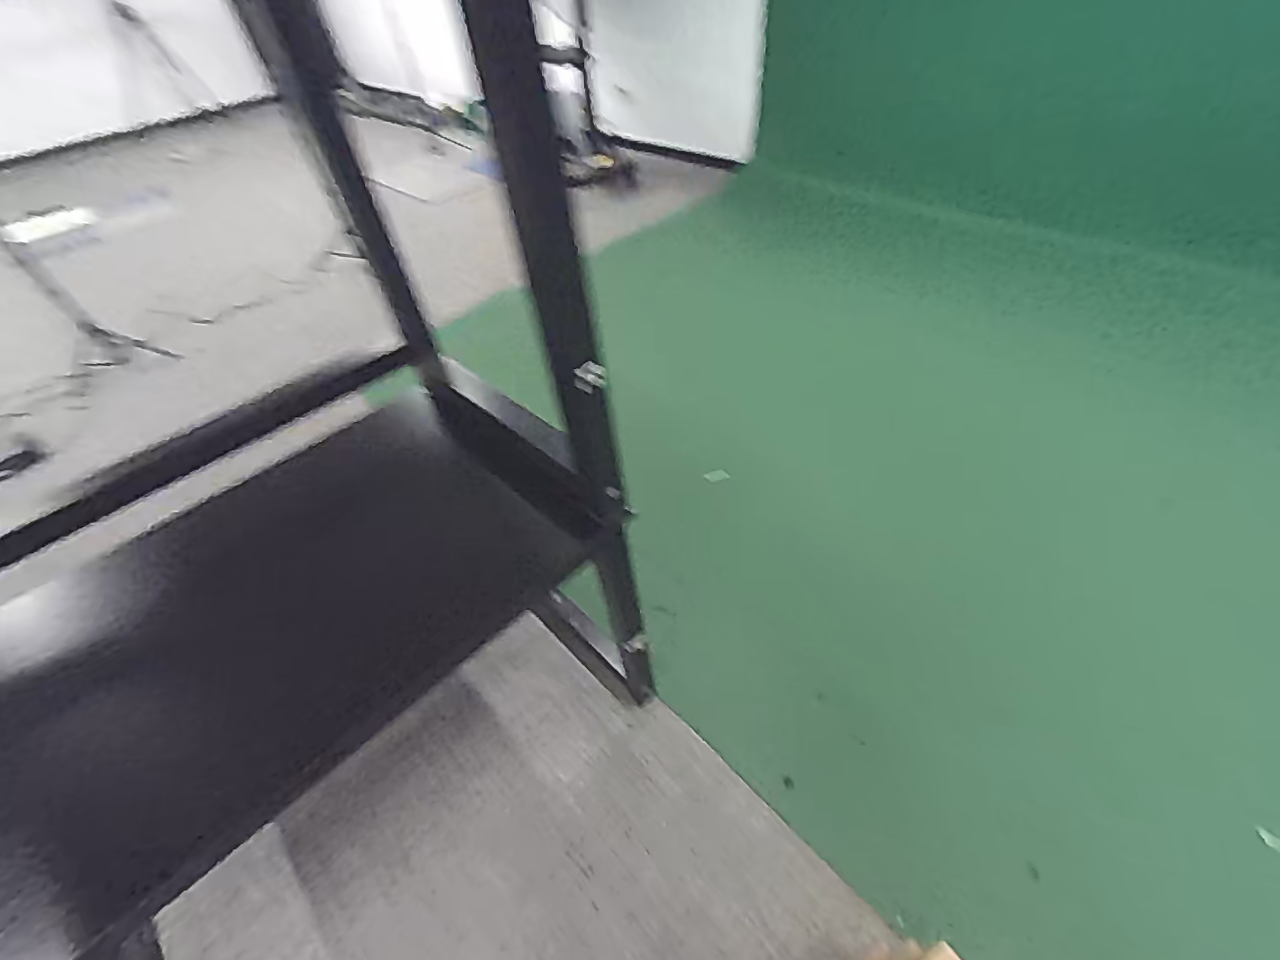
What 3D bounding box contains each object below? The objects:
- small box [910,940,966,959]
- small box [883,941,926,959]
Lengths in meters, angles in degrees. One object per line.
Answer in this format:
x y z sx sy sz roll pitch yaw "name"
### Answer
0.360 0.692 0.627 0.168 0.176 0.179 -30 50 -19 "small box"
0.386 0.799 0.752 0.179 0.176 0.168 -32 50 -21 "small box"
